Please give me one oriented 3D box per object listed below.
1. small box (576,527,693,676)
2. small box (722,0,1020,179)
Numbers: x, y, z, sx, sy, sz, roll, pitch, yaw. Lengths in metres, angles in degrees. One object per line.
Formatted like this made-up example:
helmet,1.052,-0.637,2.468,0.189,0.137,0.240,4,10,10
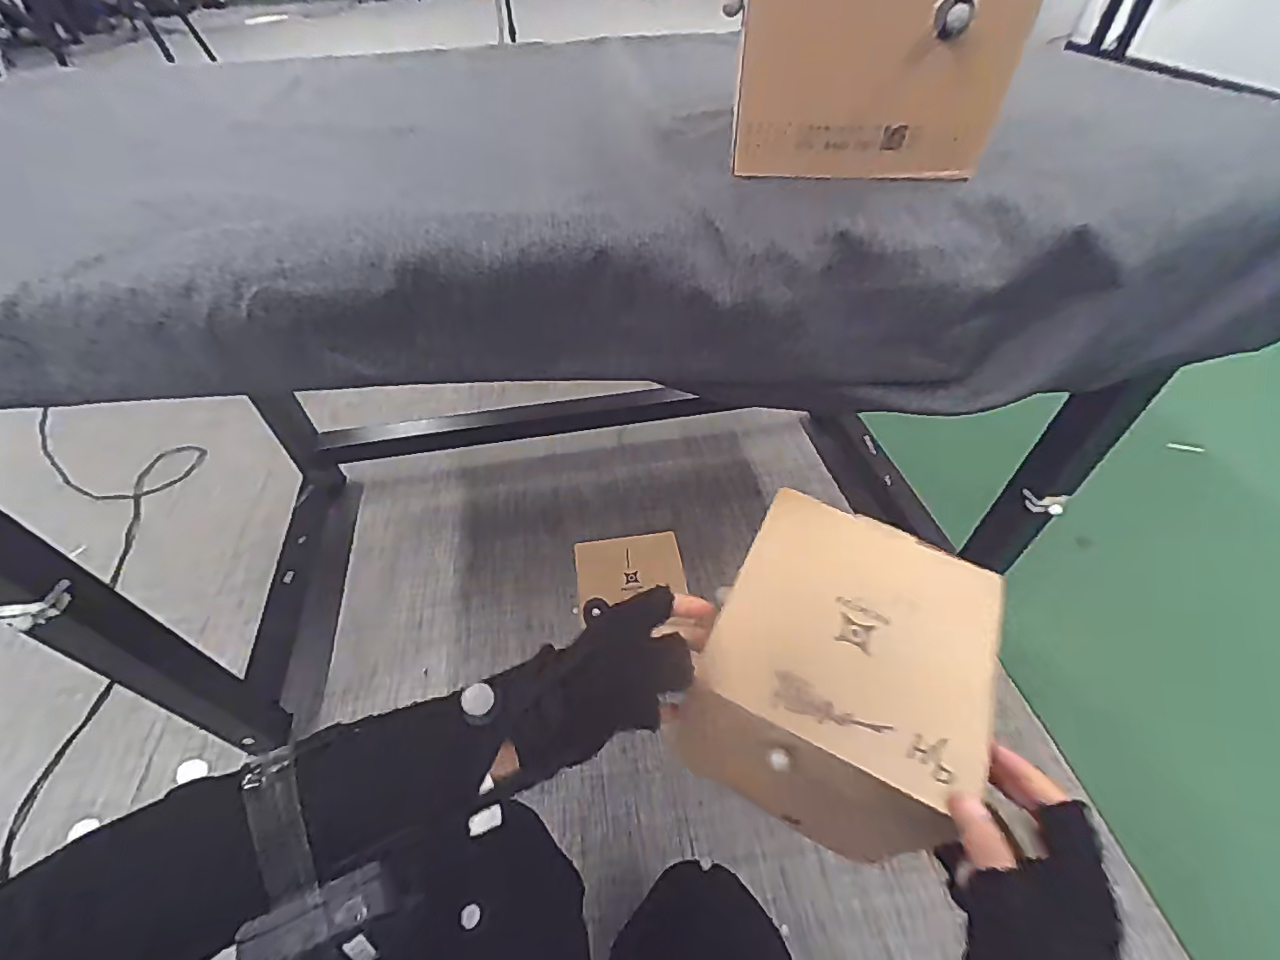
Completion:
small box,-0.009,0.203,0.881,0.168,0.176,0.179,-7,47,-4
small box,0.149,-0.327,0.377,0.168,0.176,0.179,5,47,5
